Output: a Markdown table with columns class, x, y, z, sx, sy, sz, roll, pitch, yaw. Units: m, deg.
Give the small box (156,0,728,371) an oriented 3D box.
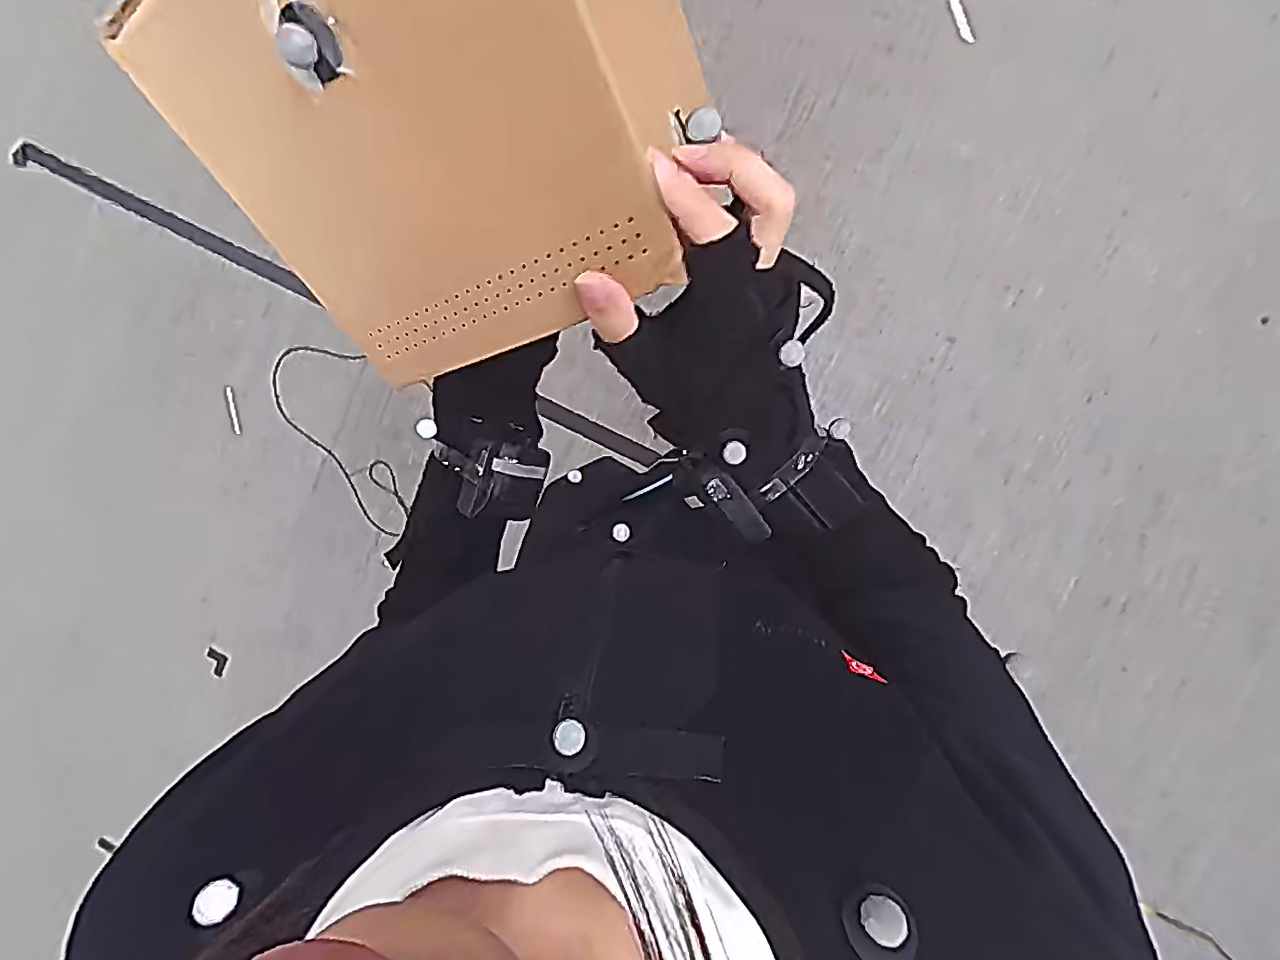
| class | x | y | z | sx | sy | sz | roll | pitch | yaw |
| --- | --- | --- | --- | --- | --- | --- | --- | --- | --- |
| small box | -0.072 | -0.181 | 0.283 | 0.179 | 0.168 | 0.176 | -11 | 130 | 28 |
